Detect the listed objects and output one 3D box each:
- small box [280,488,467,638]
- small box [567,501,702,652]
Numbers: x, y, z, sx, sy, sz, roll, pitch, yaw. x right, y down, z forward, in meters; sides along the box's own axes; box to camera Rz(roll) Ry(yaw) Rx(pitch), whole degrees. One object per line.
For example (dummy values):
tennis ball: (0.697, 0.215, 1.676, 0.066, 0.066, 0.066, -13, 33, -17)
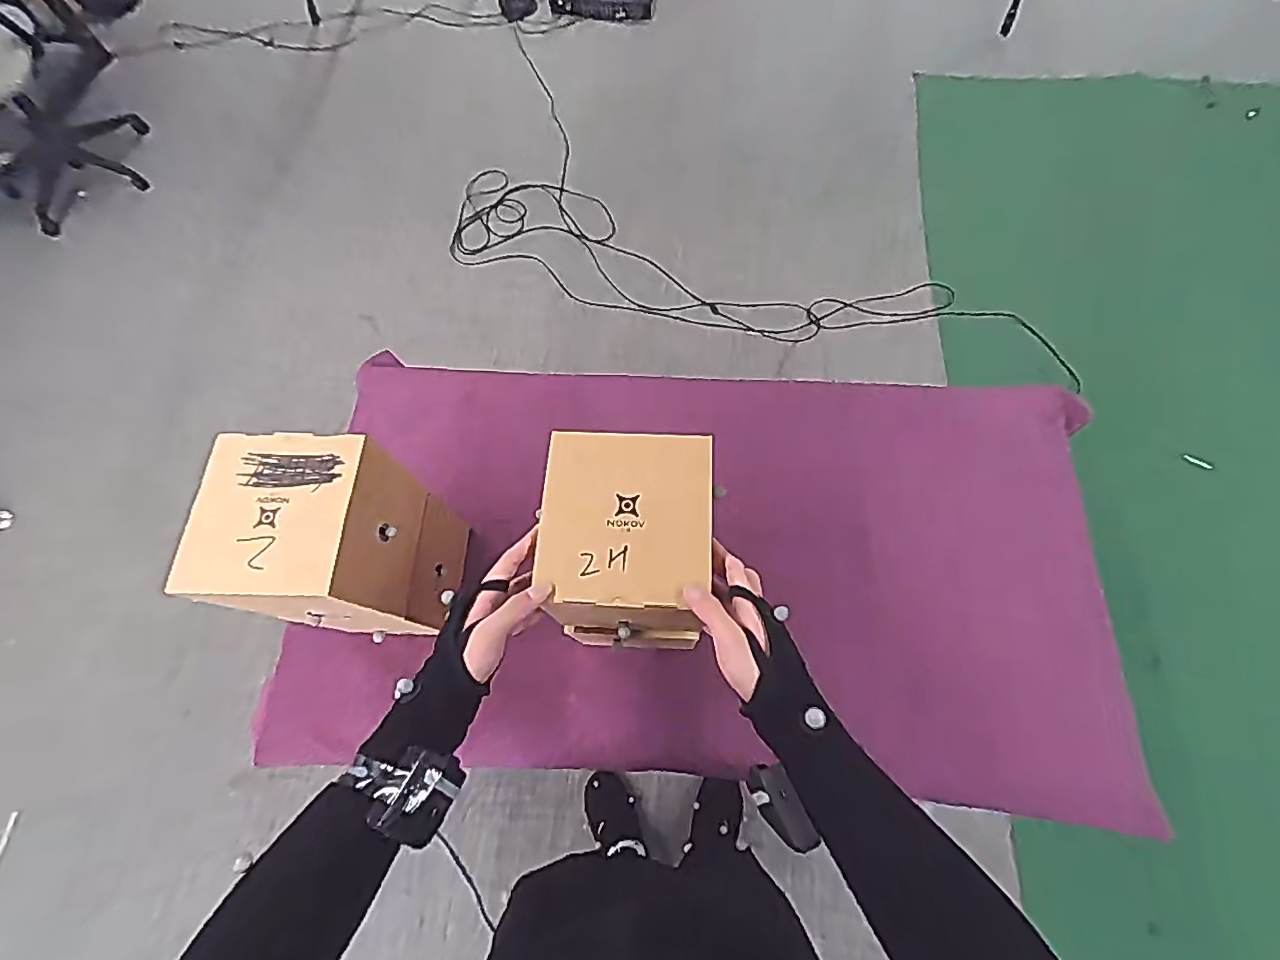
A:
small box: (-0.359, 0.124, 0.770, 0.168, 0.176, 0.179, 1, 68, 3)
small box: (0.001, 0.141, 0.753, 0.168, 0.176, 0.179, 1, 67, 3)
